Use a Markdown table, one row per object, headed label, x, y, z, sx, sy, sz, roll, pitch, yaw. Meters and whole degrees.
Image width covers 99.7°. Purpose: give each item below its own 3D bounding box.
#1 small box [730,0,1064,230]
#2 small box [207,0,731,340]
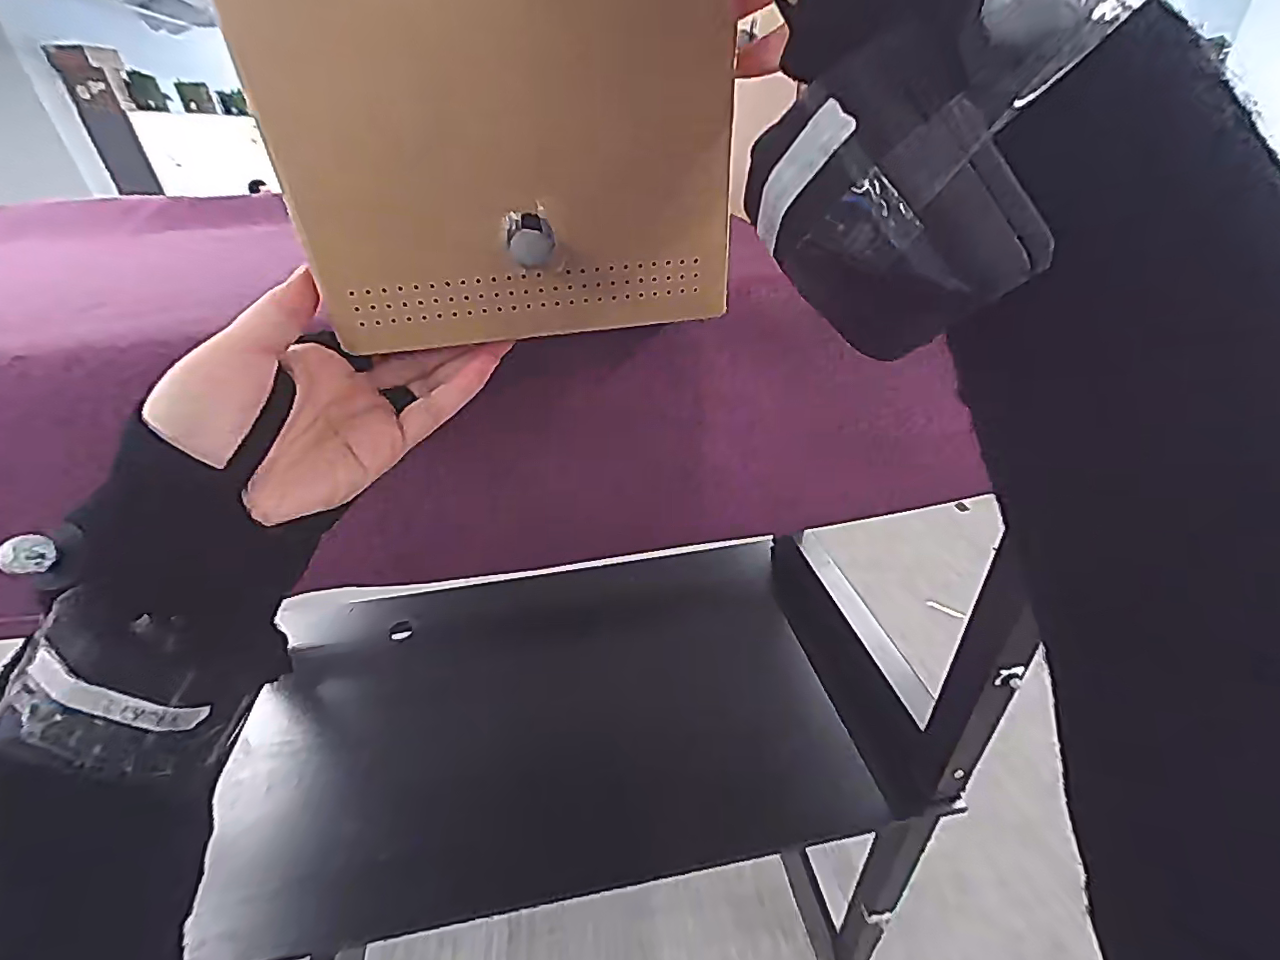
| label | x | y | z | sx | sy | sz | roll | pitch | yaw |
| --- | --- | --- | --- | --- | --- | --- | --- | --- | --- |
| small box | 0.168 | -0.294 | 0.411 | 0.168 | 0.176 | 0.179 | -7 | 33 | -4 |
| small box | -0.063 | -0.179 | 0.260 | 0.179 | 0.176 | 0.168 | -8 | 35 | -8 |
